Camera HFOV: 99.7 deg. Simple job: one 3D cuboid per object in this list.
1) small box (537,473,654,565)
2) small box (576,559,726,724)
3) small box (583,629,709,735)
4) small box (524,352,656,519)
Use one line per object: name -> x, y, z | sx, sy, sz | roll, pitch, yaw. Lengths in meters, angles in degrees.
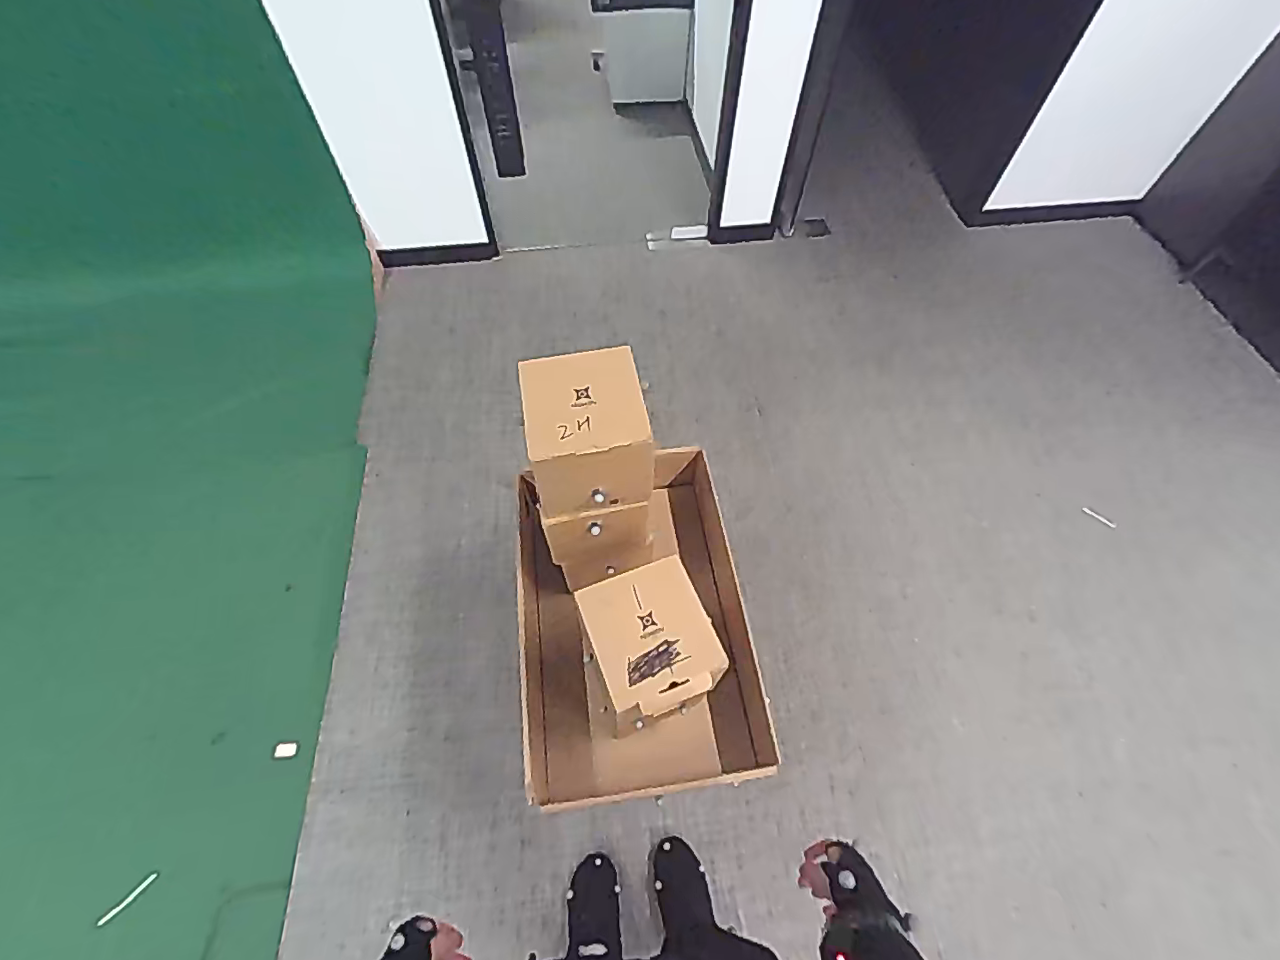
small box -> -0.079, 0.032, 0.950 | 0.179, 0.176, 0.168 | -11, 59, -6
small box -> 0.012, 0.251, 0.817 | 0.168, 0.176, 0.179 | -18, 59, -13
small box -> 0.008, 0.335, 0.958 | 0.168, 0.176, 0.179 | -18, 60, -12
small box -> -0.074, -0.063, 0.815 | 0.168, 0.176, 0.179 | -10, 60, -5
